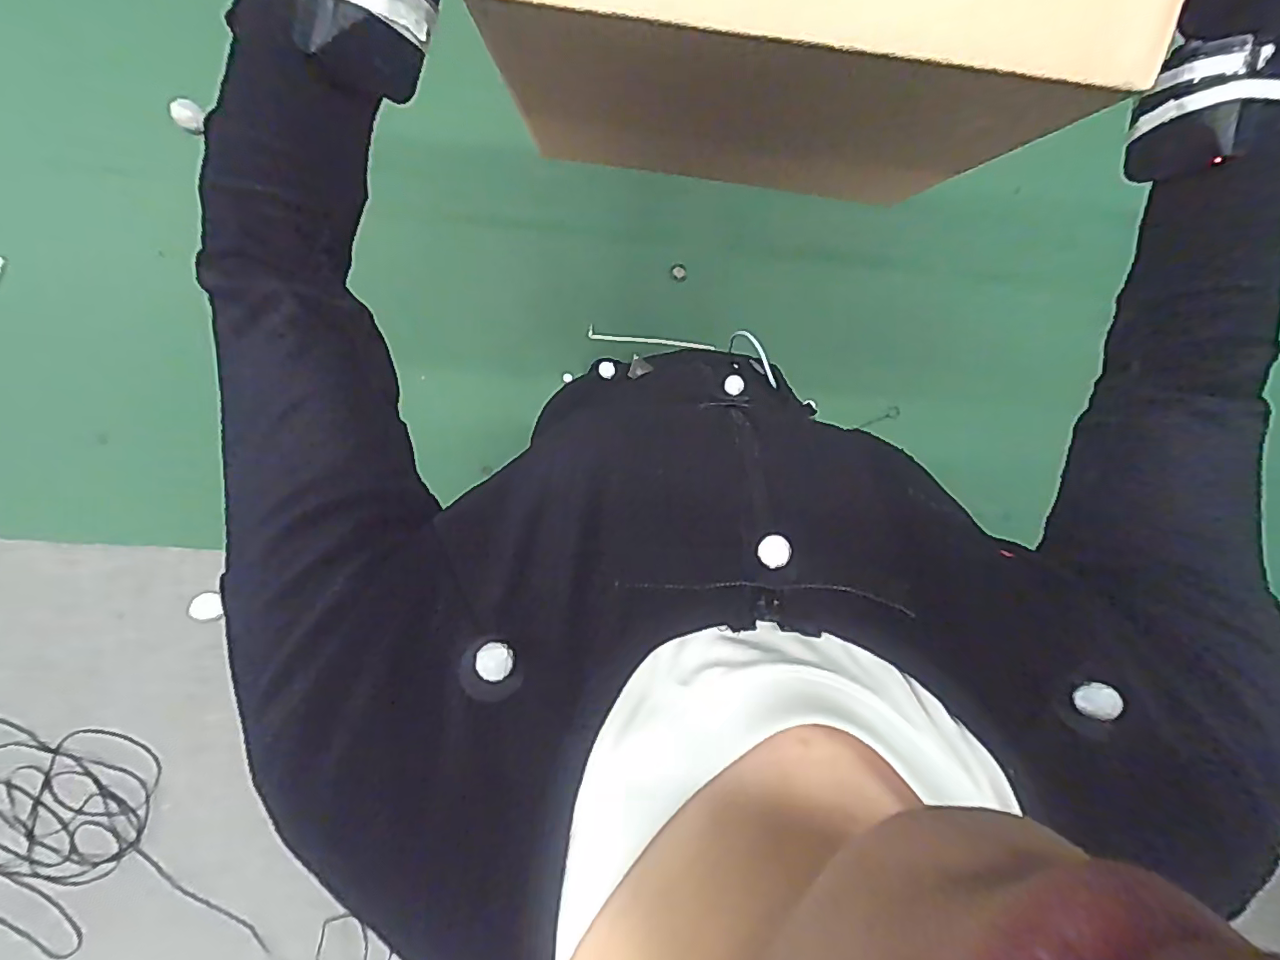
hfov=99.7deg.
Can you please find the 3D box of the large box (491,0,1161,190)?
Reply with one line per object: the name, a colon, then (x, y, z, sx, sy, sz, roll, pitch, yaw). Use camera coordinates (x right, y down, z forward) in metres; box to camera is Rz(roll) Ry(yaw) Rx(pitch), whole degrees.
large box: (0.111, -0.447, 0.415, 0.408, 0.320, 0.320, 5, 106, -5)
